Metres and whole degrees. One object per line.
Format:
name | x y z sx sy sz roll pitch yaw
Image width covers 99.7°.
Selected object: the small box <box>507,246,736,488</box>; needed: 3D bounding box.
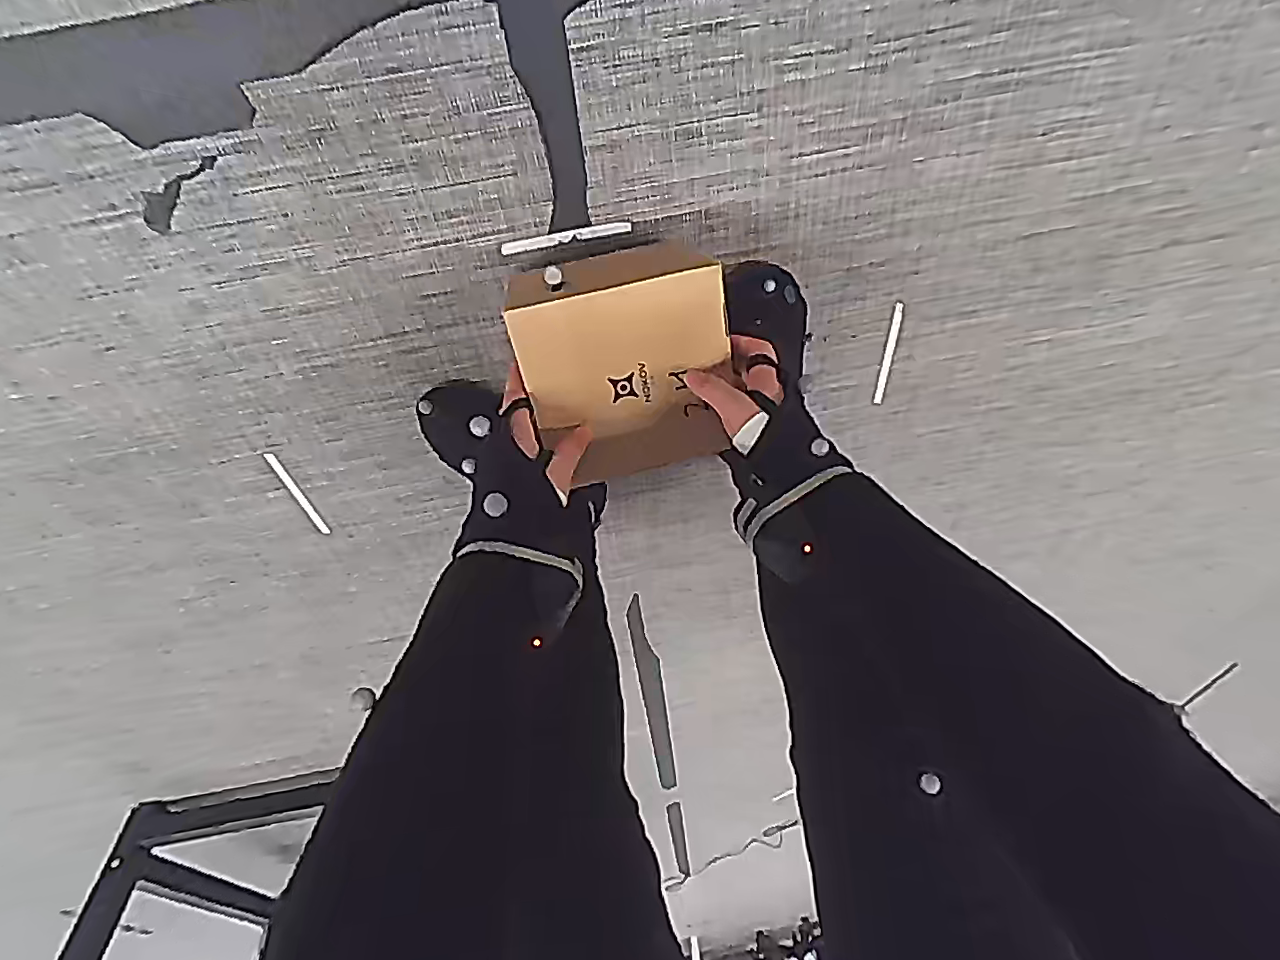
small box | -0.021 -0.118 0.526 0.179 0.176 0.168 -14 122 -6
